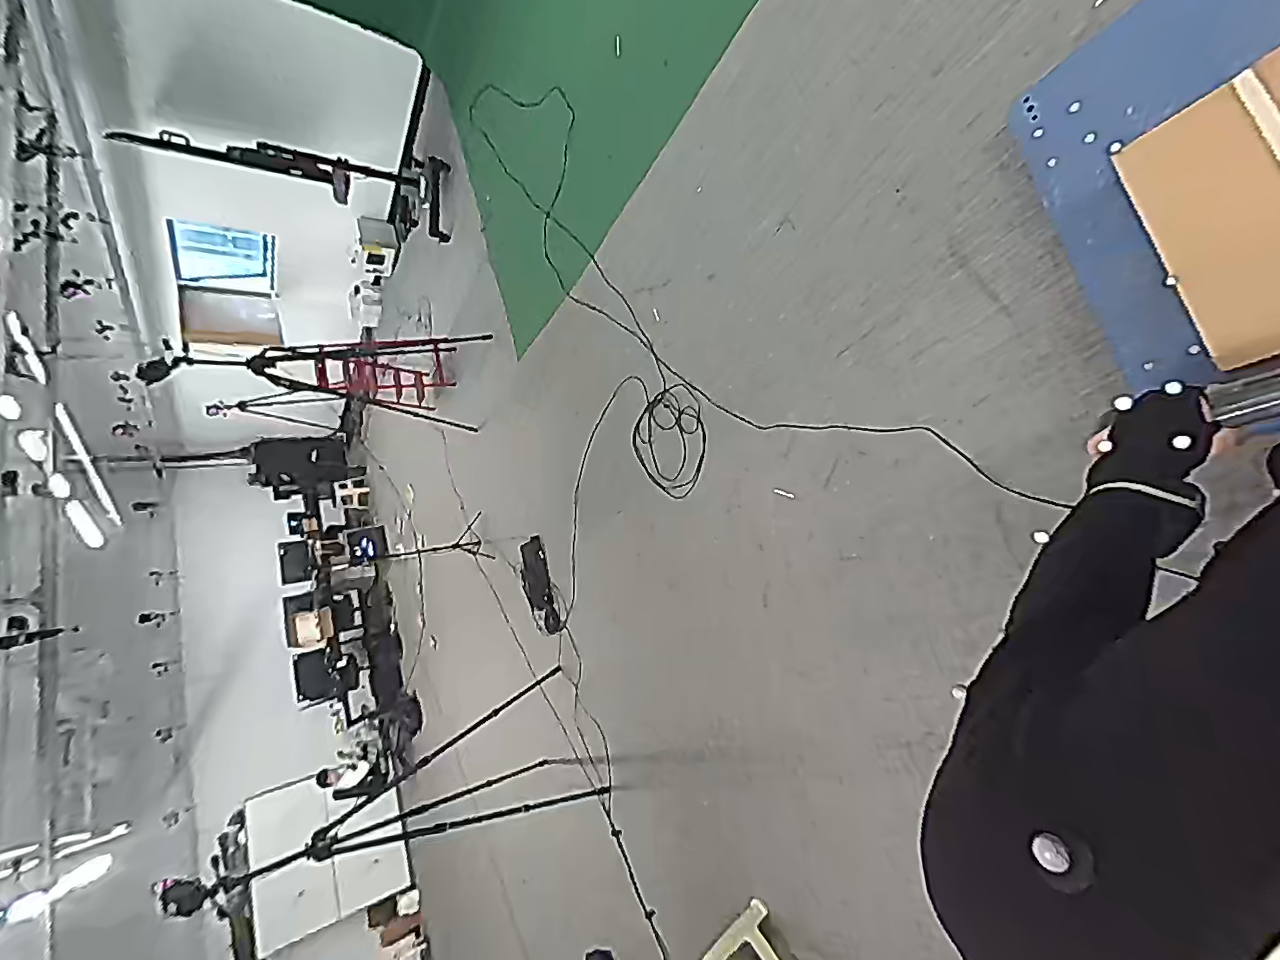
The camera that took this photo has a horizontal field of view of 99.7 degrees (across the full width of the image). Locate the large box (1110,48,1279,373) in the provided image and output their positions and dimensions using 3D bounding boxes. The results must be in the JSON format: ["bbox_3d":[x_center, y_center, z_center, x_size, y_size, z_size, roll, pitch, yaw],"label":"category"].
[{"bbox_3d":[1.049,-0.420,0.846,0.320,0.320,0.408,-29,71,50],"label":"large box"}]
